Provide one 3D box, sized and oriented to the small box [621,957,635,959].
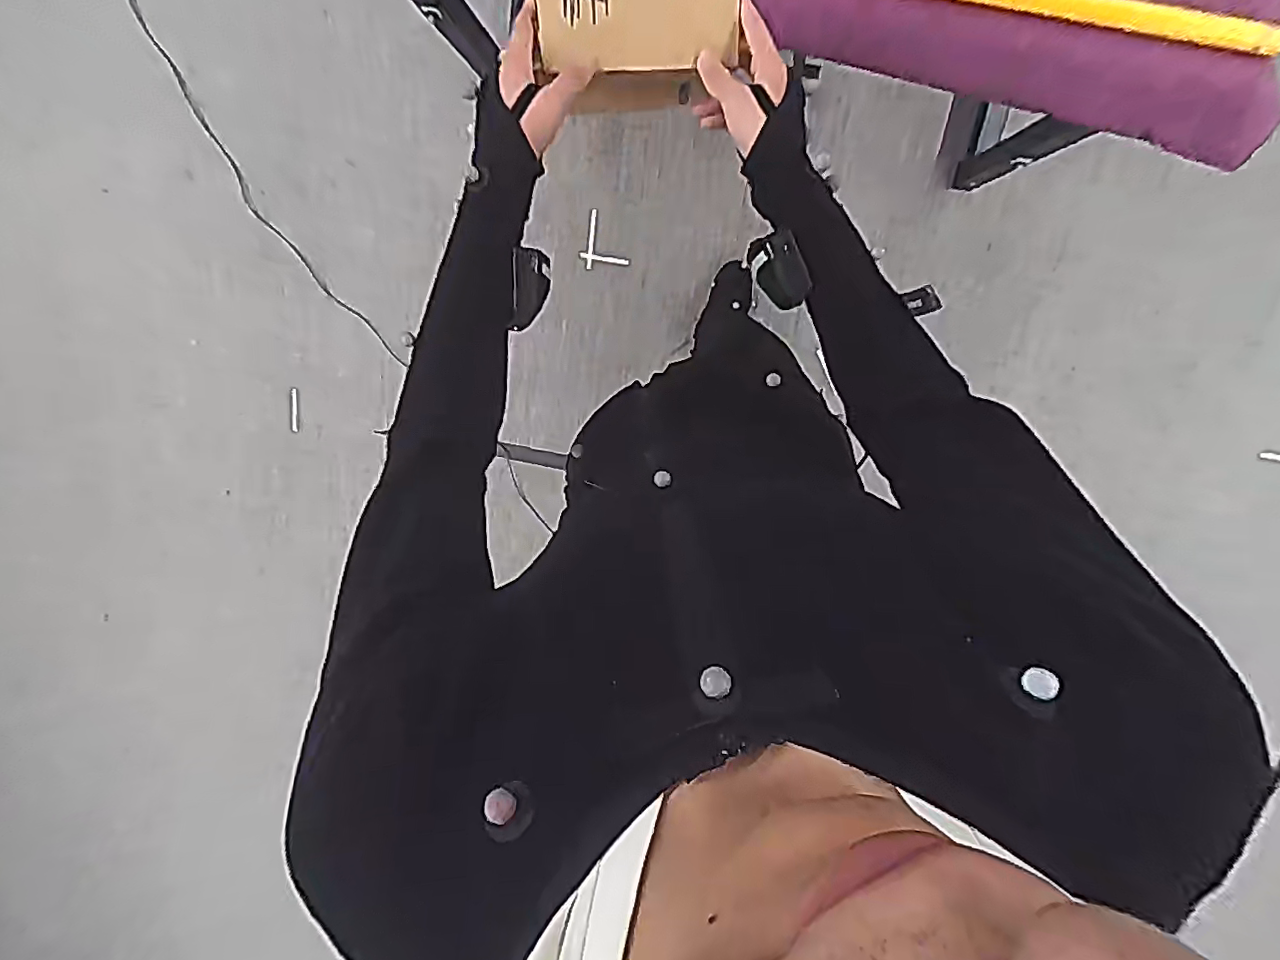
[{"bbox_3d":[-0.023,1.601,1.634,0.179,0.176,0.168,21,109,1],"label":"small box"}]
